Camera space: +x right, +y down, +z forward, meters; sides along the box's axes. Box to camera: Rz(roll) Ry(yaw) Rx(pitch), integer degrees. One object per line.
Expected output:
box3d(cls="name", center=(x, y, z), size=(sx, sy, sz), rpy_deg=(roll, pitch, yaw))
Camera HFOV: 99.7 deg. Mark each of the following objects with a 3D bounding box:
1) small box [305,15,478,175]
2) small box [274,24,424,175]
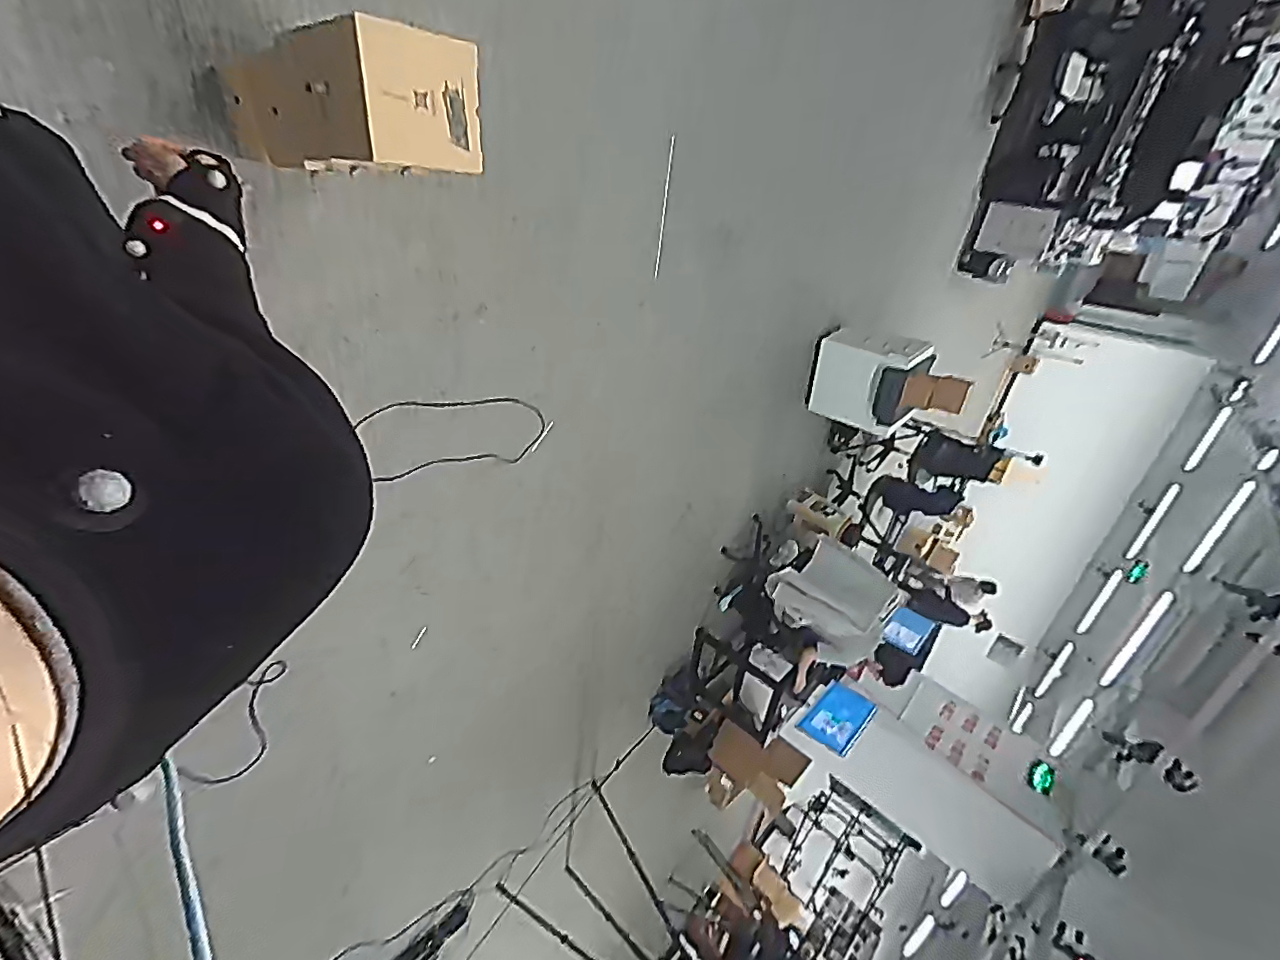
box3d(cls="small box", center=(-0.367, -0.564, 0.812), size=(0.179, 0.176, 0.168), rpy_deg=(-23, 128, -42))
box3d(cls="small box", center=(-0.486, -0.625, 0.909), size=(0.168, 0.176, 0.179), rpy_deg=(-21, 128, -43))
